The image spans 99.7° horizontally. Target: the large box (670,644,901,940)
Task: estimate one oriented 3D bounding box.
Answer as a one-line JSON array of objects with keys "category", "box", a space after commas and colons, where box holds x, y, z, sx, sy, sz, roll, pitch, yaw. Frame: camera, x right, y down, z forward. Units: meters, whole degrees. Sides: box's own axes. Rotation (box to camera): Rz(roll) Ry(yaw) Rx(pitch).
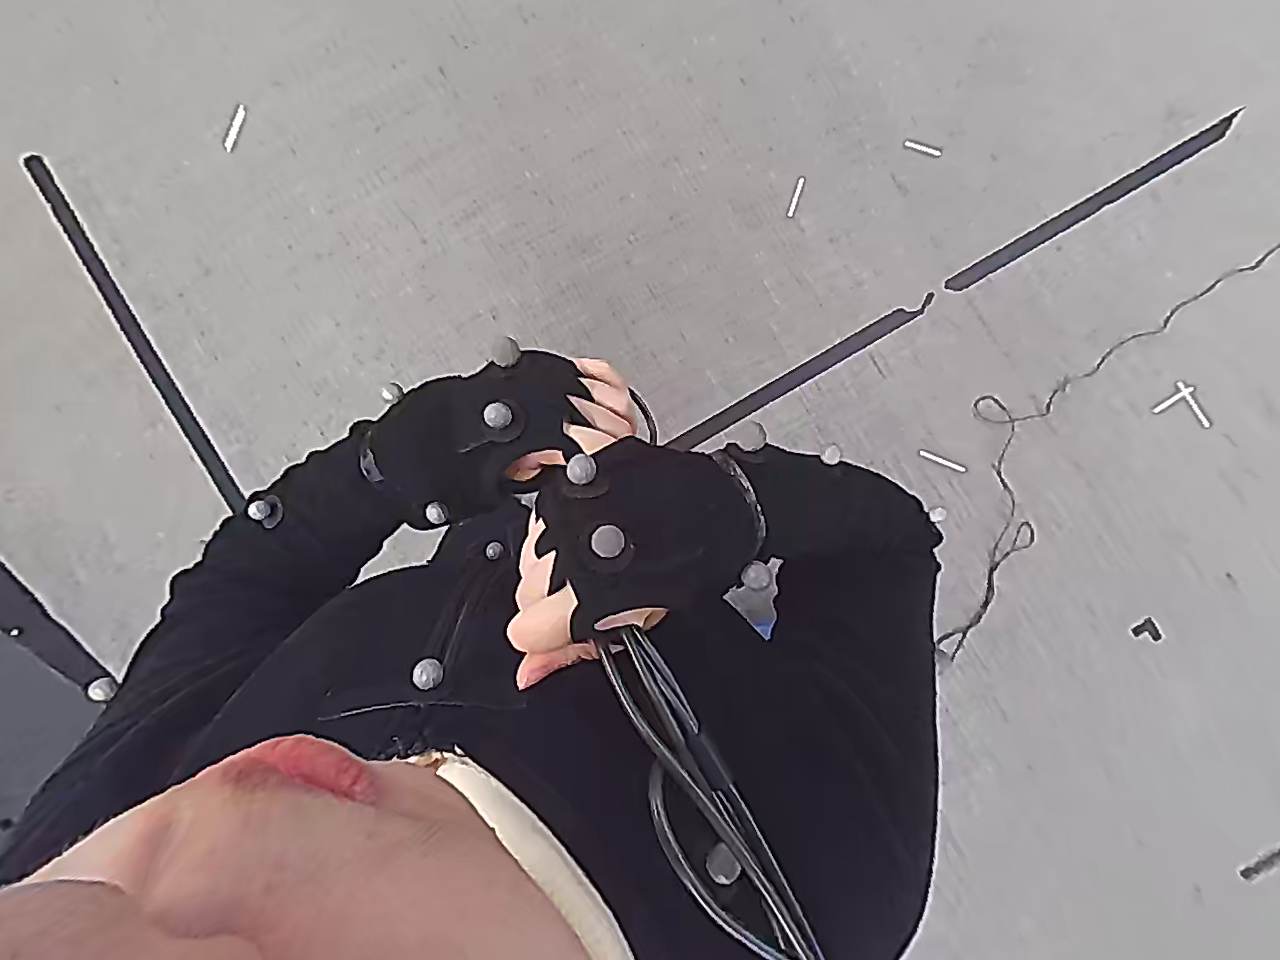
[{"category": "large box", "box": [0.283, 0.631, 1.167, 0.320, 0.320, 0.408, -19, 90, -1]}]
